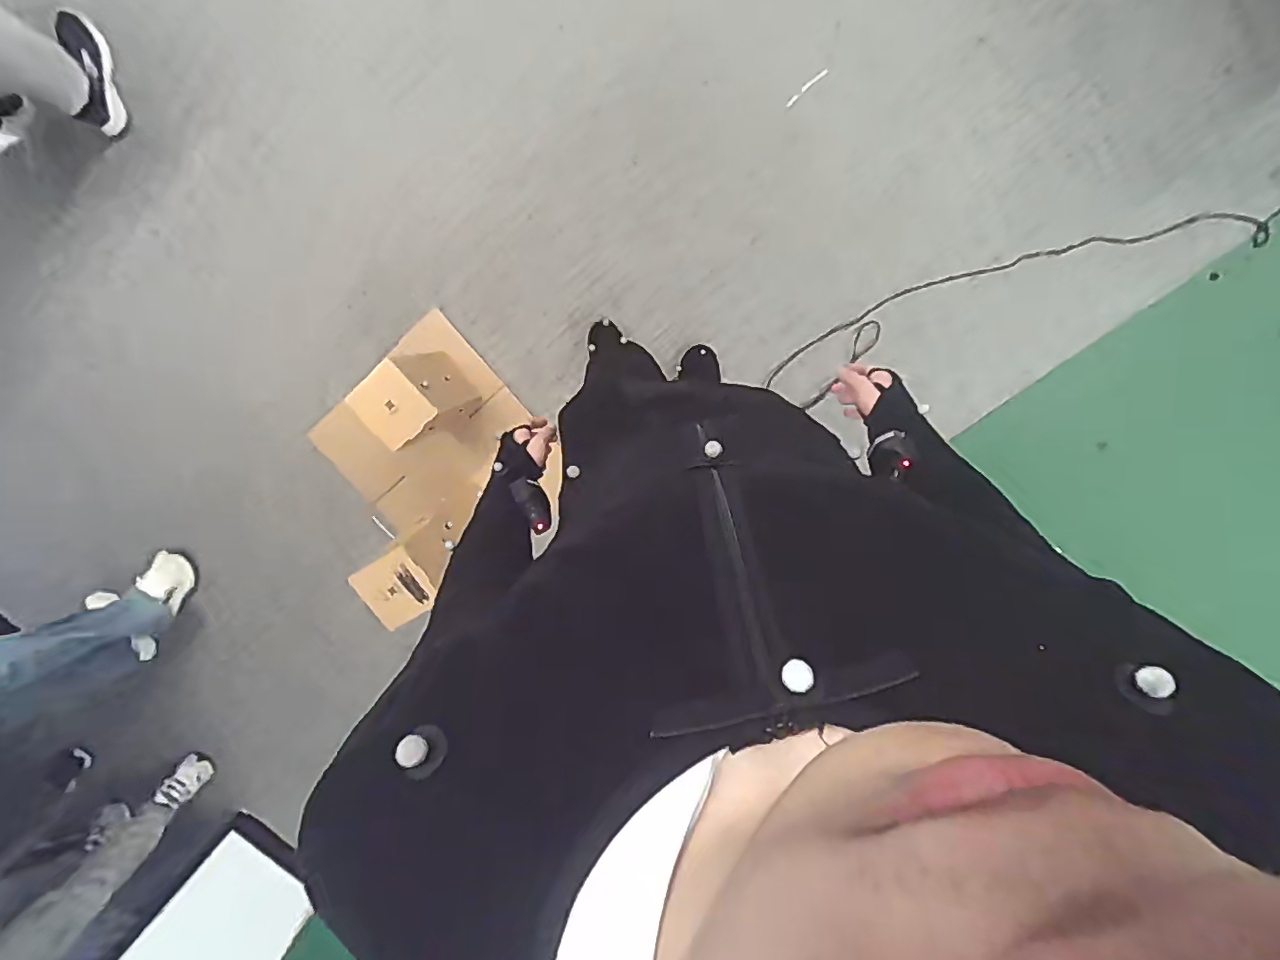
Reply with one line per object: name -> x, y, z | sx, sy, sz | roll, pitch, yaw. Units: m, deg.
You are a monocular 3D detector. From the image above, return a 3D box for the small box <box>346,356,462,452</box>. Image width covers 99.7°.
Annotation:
small box -> -0.596, -0.202, 1.385 | 0.168, 0.176, 0.179 | -38, 102, 13

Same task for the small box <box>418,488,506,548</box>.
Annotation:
small box -> -0.541, 0.140, 1.654 | 0.168, 0.176, 0.179 | -30, 103, 13

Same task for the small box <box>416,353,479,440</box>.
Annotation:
small box -> -0.591, -0.246, 1.540 | 0.168, 0.176, 0.179 | -37, 101, 13

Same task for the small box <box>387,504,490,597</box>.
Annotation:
small box -> -0.549, 0.183, 1.494 | 0.168, 0.176, 0.179 | -30, 103, 13
